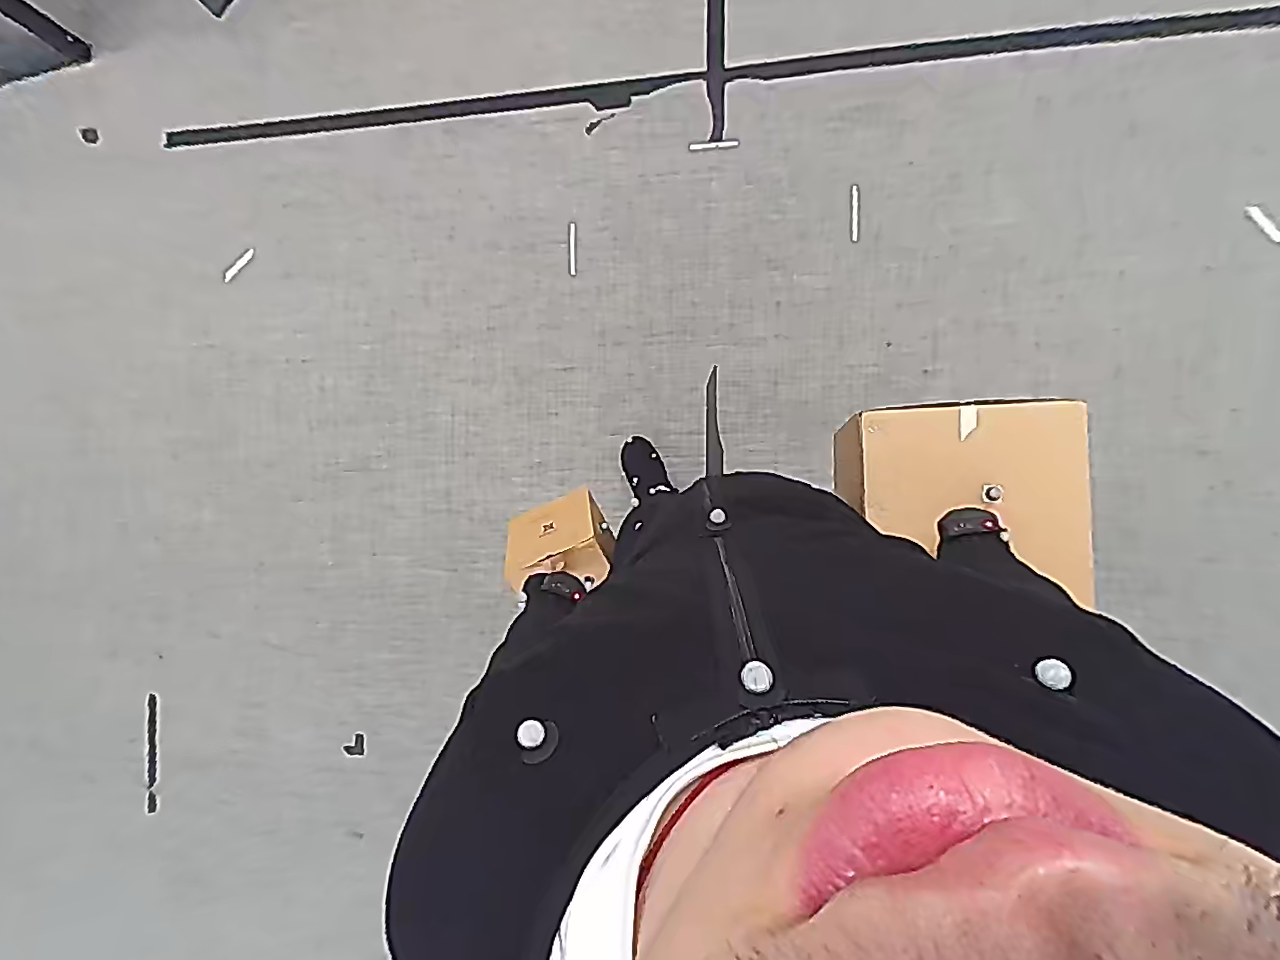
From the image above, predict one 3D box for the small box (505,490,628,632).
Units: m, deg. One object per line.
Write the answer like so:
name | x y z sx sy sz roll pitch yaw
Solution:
small box | -0.133 0.155 1.001 0.168 0.179 0.176 -24 119 3
